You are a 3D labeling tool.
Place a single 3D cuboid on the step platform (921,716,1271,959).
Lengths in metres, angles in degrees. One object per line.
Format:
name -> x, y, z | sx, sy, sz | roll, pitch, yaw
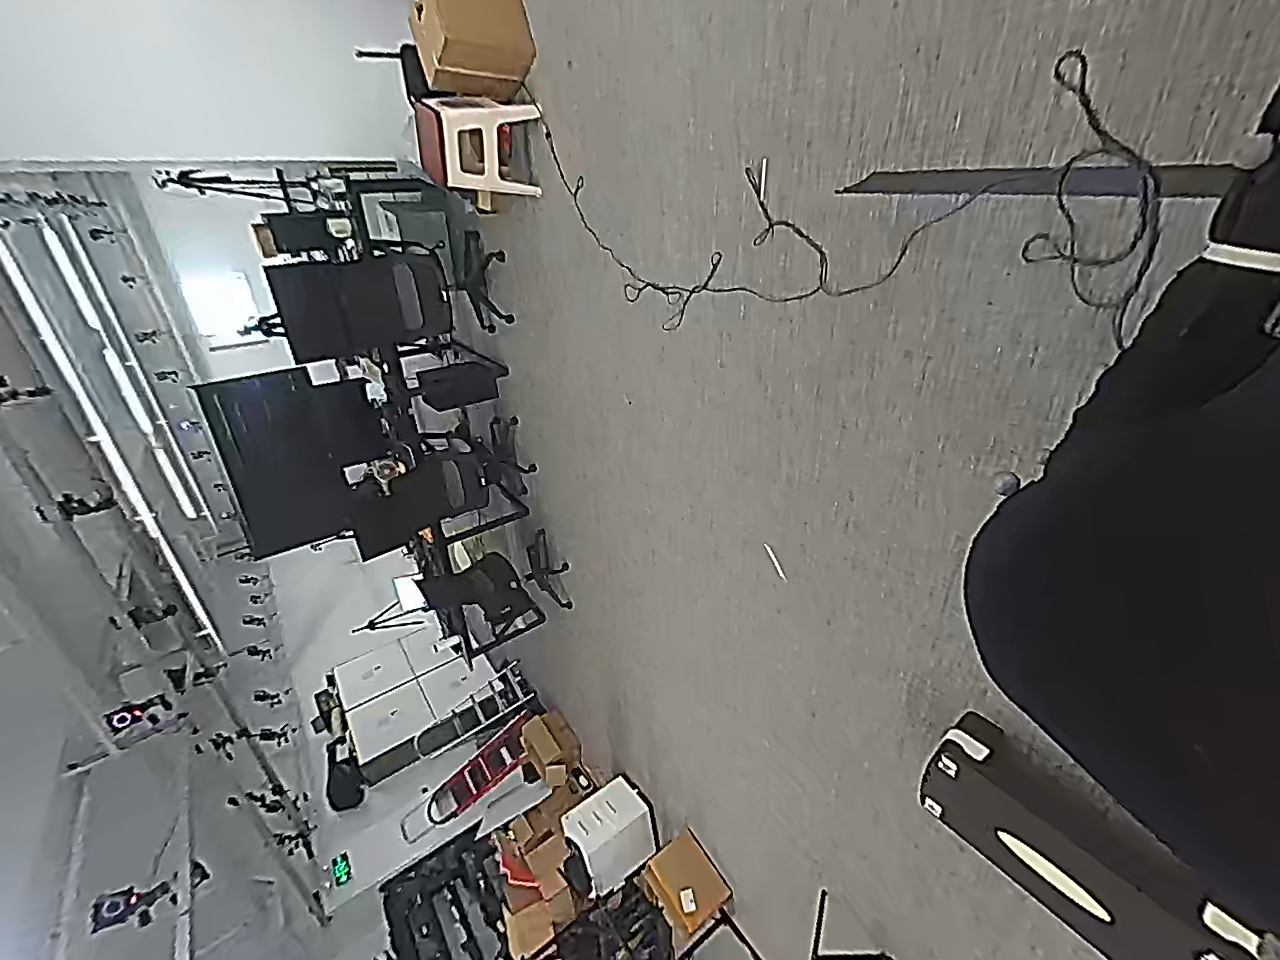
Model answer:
step platform -> 1.113, 0.970, 1.419 | 0.684, 0.204, 0.286 | 31, 133, 45
